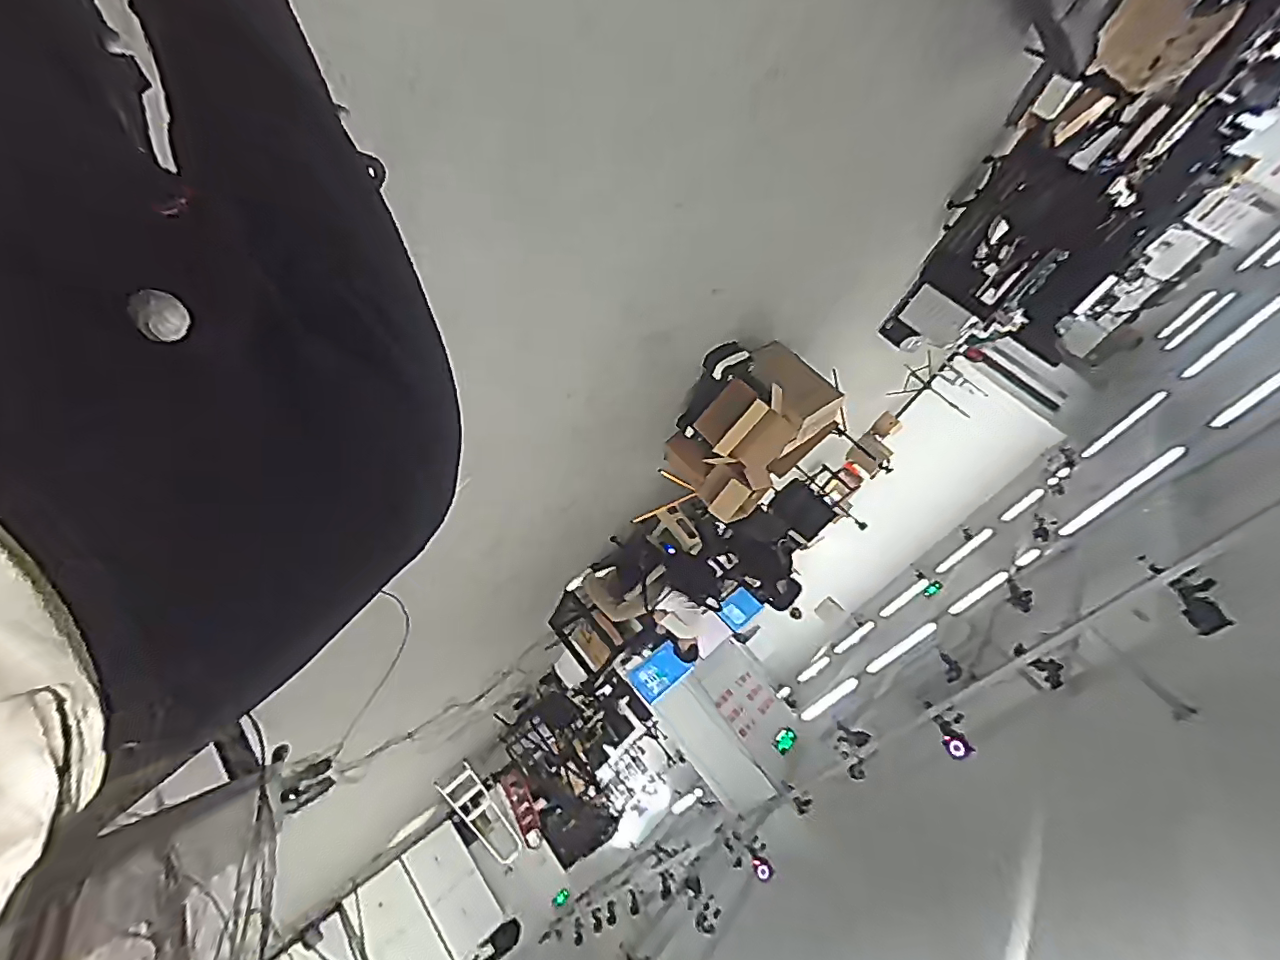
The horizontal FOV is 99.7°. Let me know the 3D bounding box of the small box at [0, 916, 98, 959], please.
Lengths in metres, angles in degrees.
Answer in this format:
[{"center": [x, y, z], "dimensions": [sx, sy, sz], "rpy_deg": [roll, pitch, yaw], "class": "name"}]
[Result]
[{"center": [-1.479, 1.239, 1.339], "dimensions": [0.179, 0.176, 0.168], "rpy_deg": [-19, 148, -46], "class": "small box"}]
